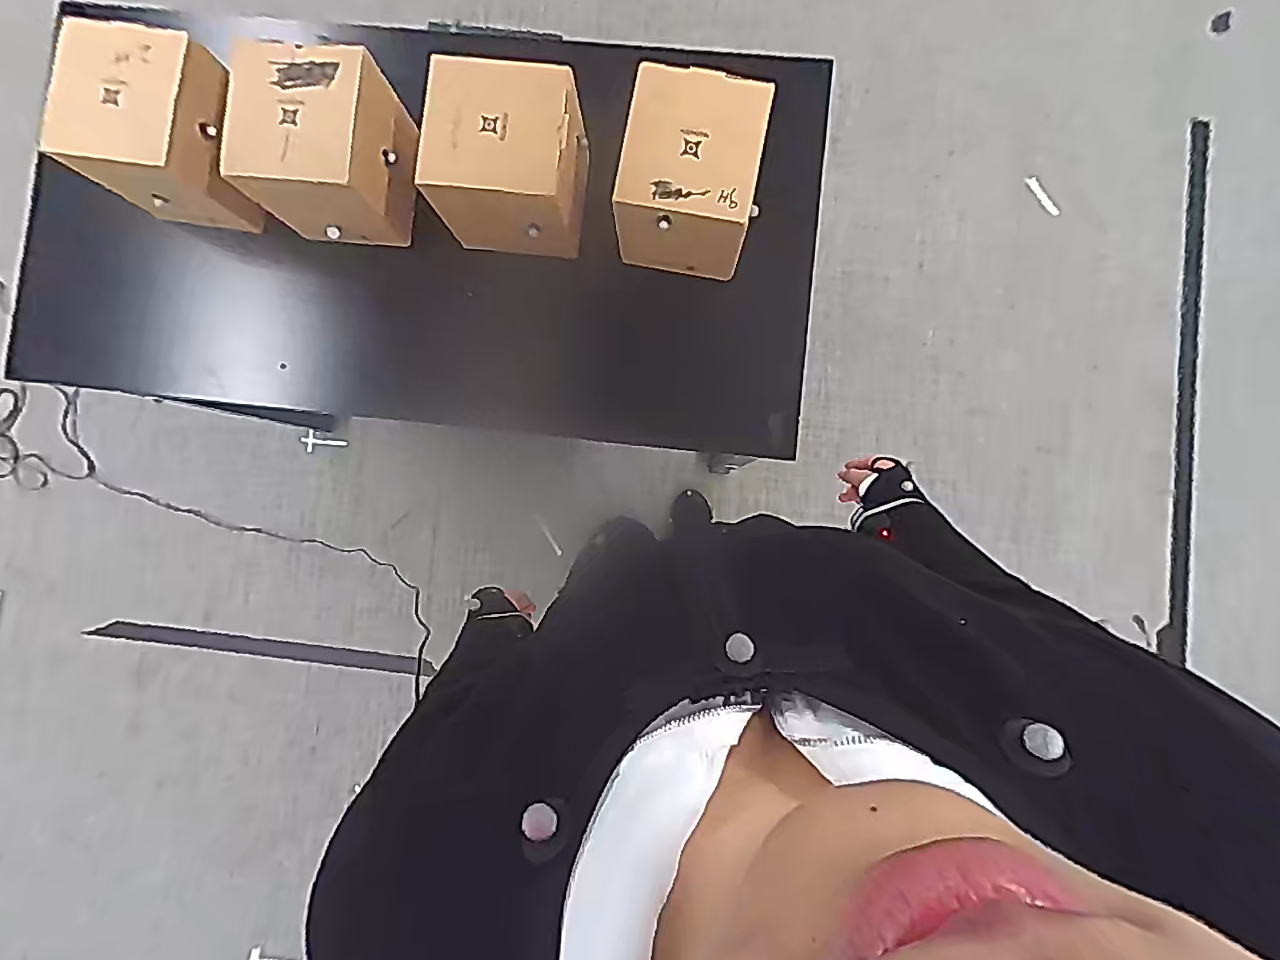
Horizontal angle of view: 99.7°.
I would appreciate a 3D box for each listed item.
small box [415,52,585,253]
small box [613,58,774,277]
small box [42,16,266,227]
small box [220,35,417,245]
[{"bbox_3d":[-0.175,-0.426,0.731,0.179,0.176,0.168,6,87,3],"label":"small box"},{"bbox_3d":[0.065,-0.401,0.718,0.168,0.176,0.179,11,88,3],"label":"small box"},{"bbox_3d":[-0.644,-0.479,0.748,0.168,0.176,0.179,9,88,2],"label":"small box"},{"bbox_3d":[-0.422,-0.450,0.738,0.168,0.176,0.179,5,89,1],"label":"small box"}]
